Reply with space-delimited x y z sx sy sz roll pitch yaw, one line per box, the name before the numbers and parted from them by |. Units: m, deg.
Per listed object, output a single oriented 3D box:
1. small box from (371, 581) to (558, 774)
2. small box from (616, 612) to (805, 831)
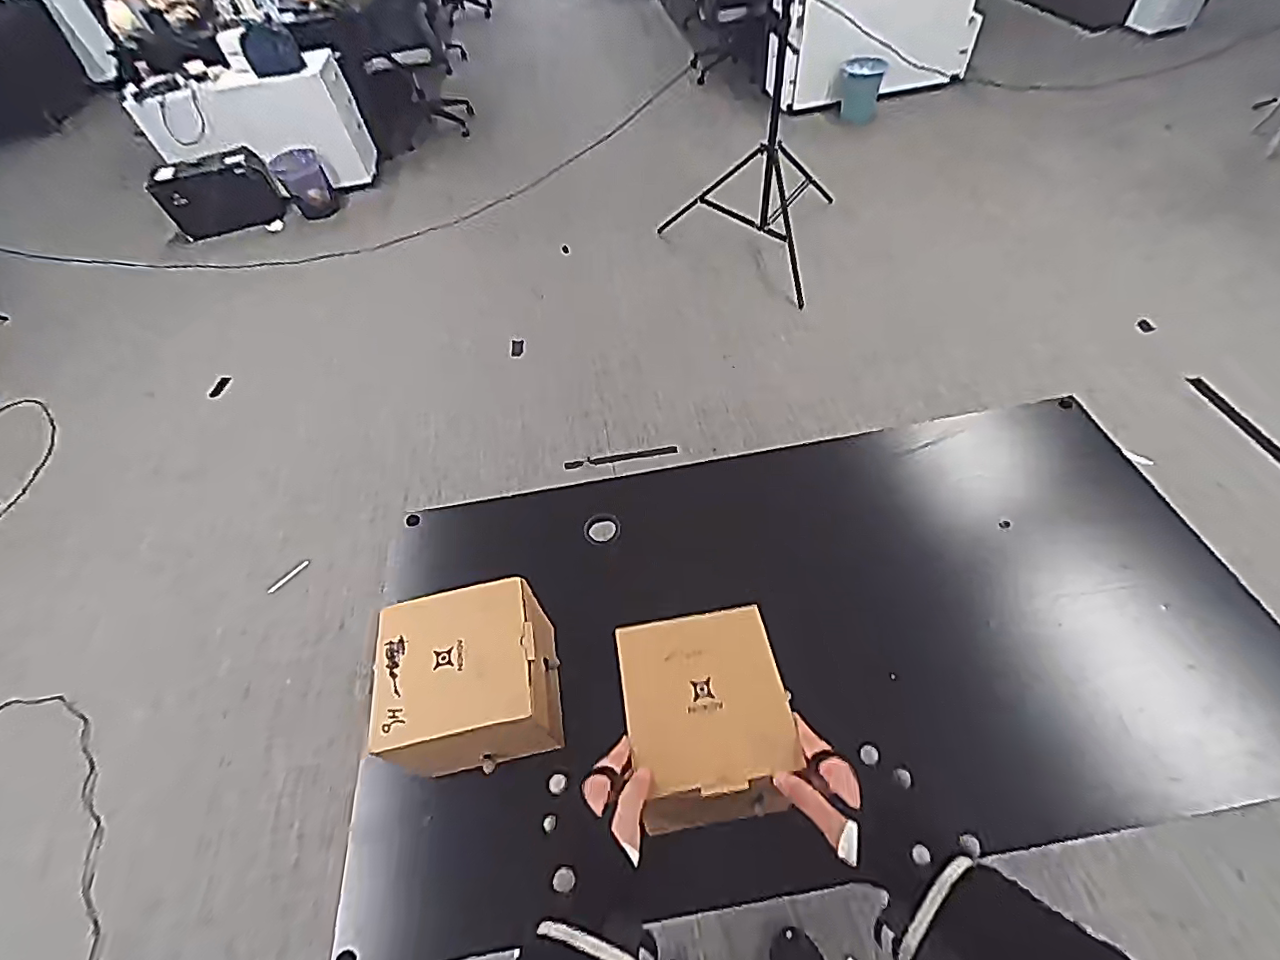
small box | -0.202 0.248 0.671 0.179 0.176 0.168 -11 53 -4
small box | 0.070 0.278 0.613 0.168 0.176 0.179 -9 47 -3
